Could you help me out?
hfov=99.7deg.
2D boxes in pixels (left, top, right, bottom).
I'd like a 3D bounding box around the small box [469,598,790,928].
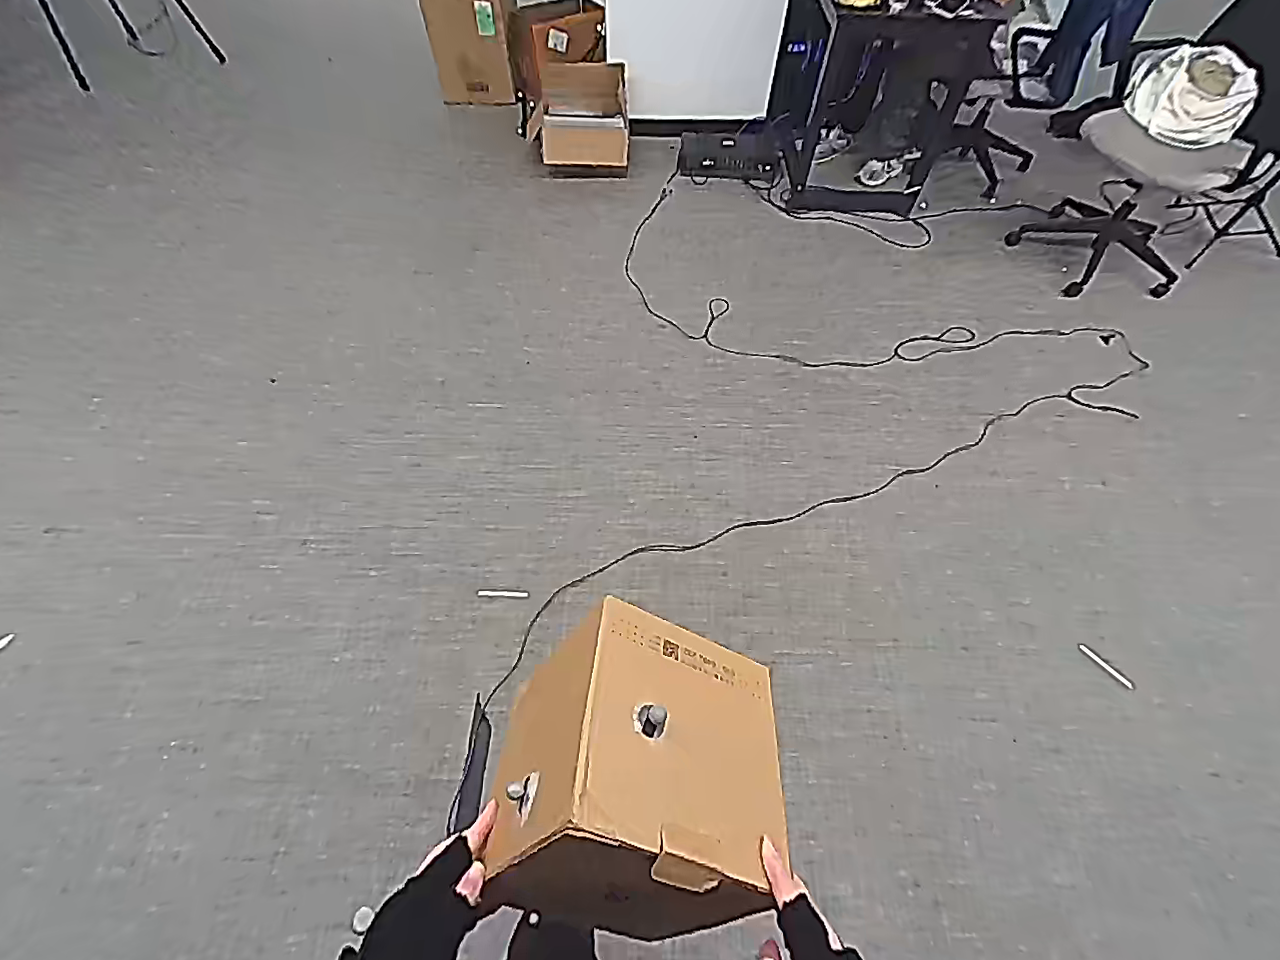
[{"bbox_3d":[-0.008,0.226,0.439,0.168,0.179,0.176,30,36,-16],"label":"small box"}]
